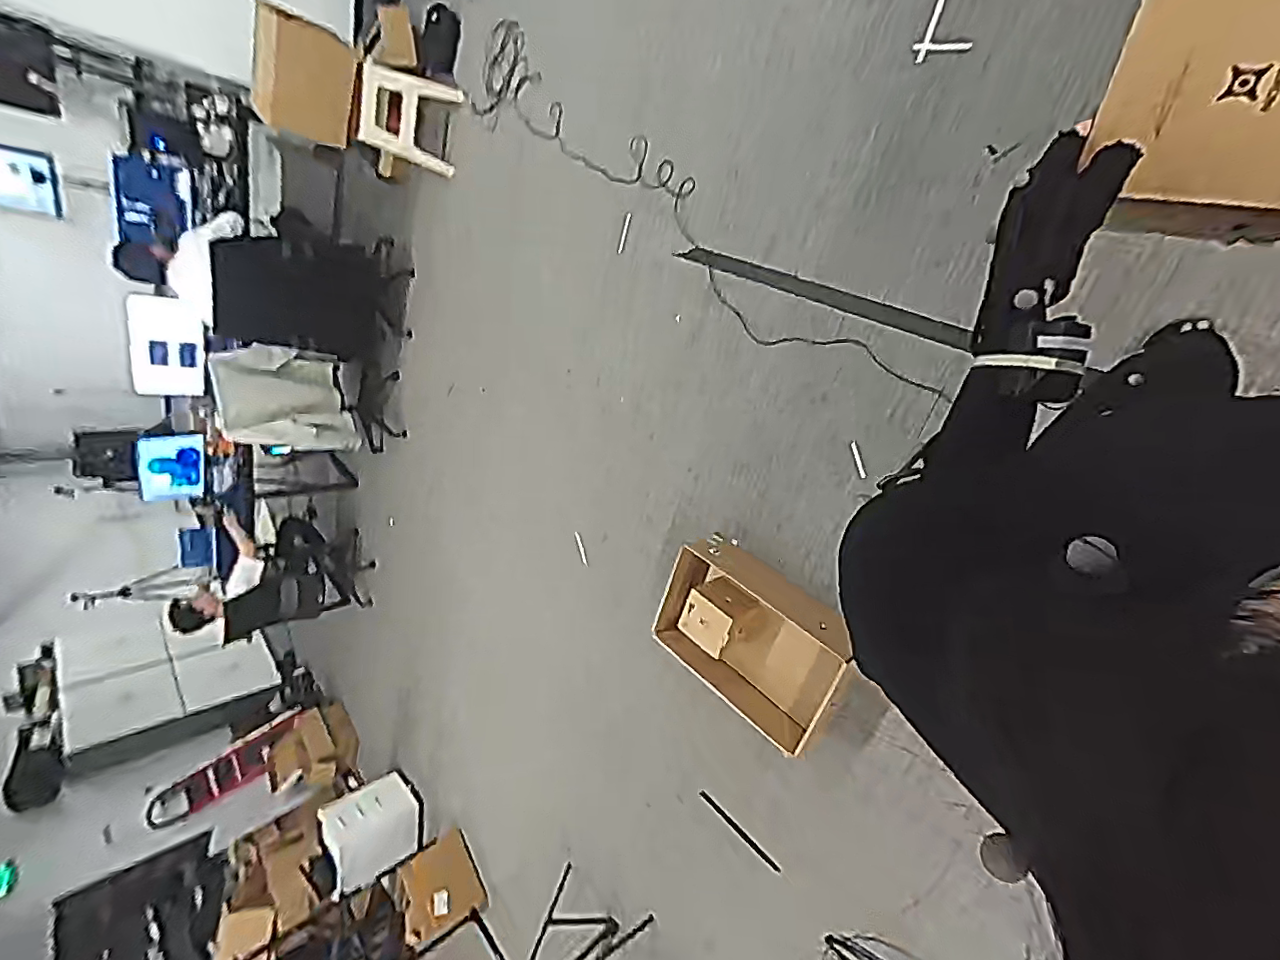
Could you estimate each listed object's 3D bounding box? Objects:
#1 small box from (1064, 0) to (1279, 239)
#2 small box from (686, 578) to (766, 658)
[{"bbox_3d":[0.501,-0.313,0.464,0.179,0.176,0.168,22,112,32],"label":"small box"},{"bbox_3d":[0.288,0.448,1.786,0.179,0.176,0.168,34,117,34],"label":"small box"}]
